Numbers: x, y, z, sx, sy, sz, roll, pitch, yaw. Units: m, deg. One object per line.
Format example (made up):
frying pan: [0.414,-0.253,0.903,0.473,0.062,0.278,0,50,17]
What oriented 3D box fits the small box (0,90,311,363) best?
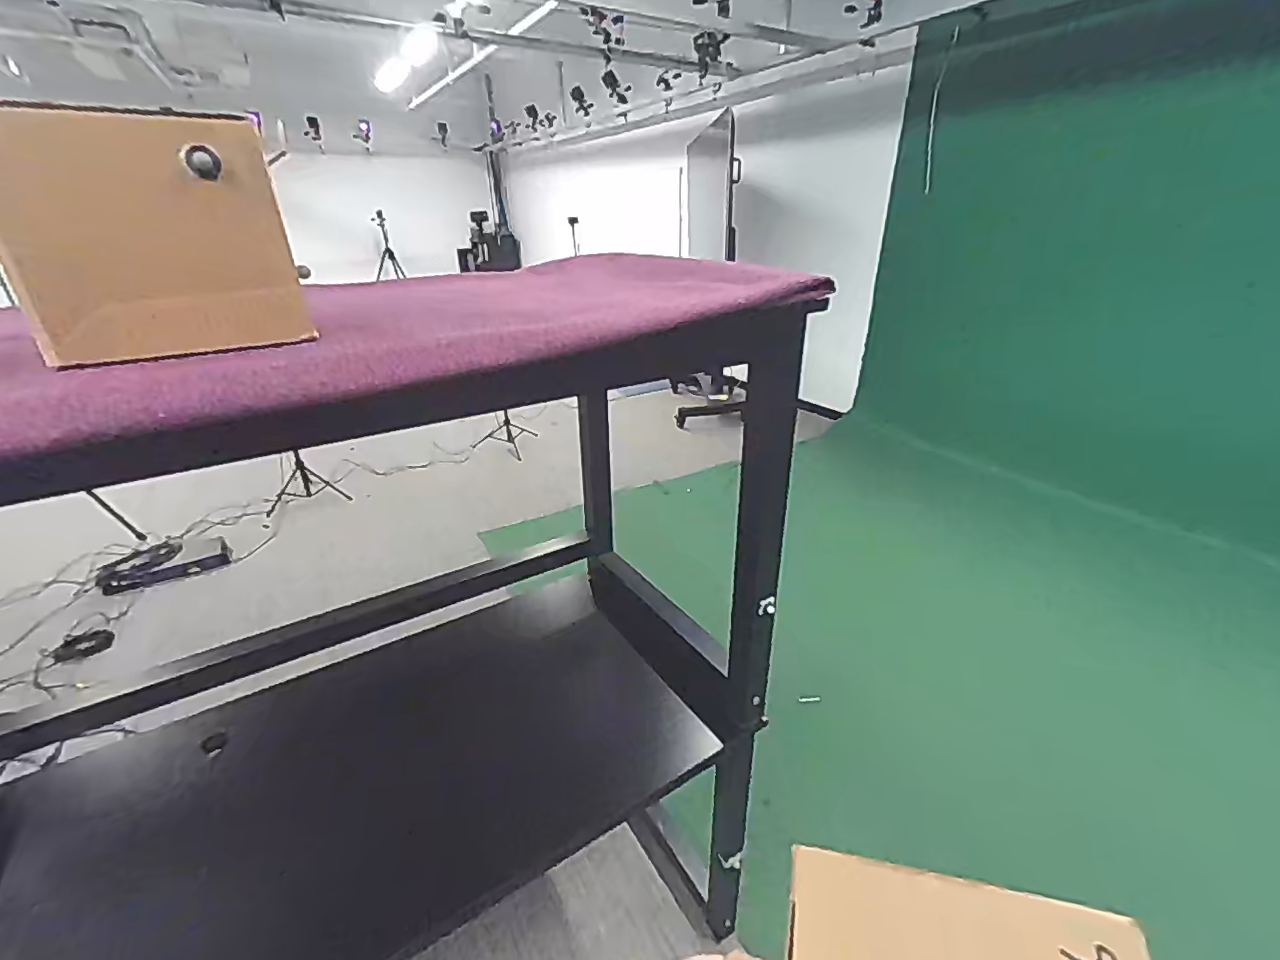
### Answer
small box: [-0.400,-0.199,0.450,0.179,0.176,0.168,-16,28,-29]
